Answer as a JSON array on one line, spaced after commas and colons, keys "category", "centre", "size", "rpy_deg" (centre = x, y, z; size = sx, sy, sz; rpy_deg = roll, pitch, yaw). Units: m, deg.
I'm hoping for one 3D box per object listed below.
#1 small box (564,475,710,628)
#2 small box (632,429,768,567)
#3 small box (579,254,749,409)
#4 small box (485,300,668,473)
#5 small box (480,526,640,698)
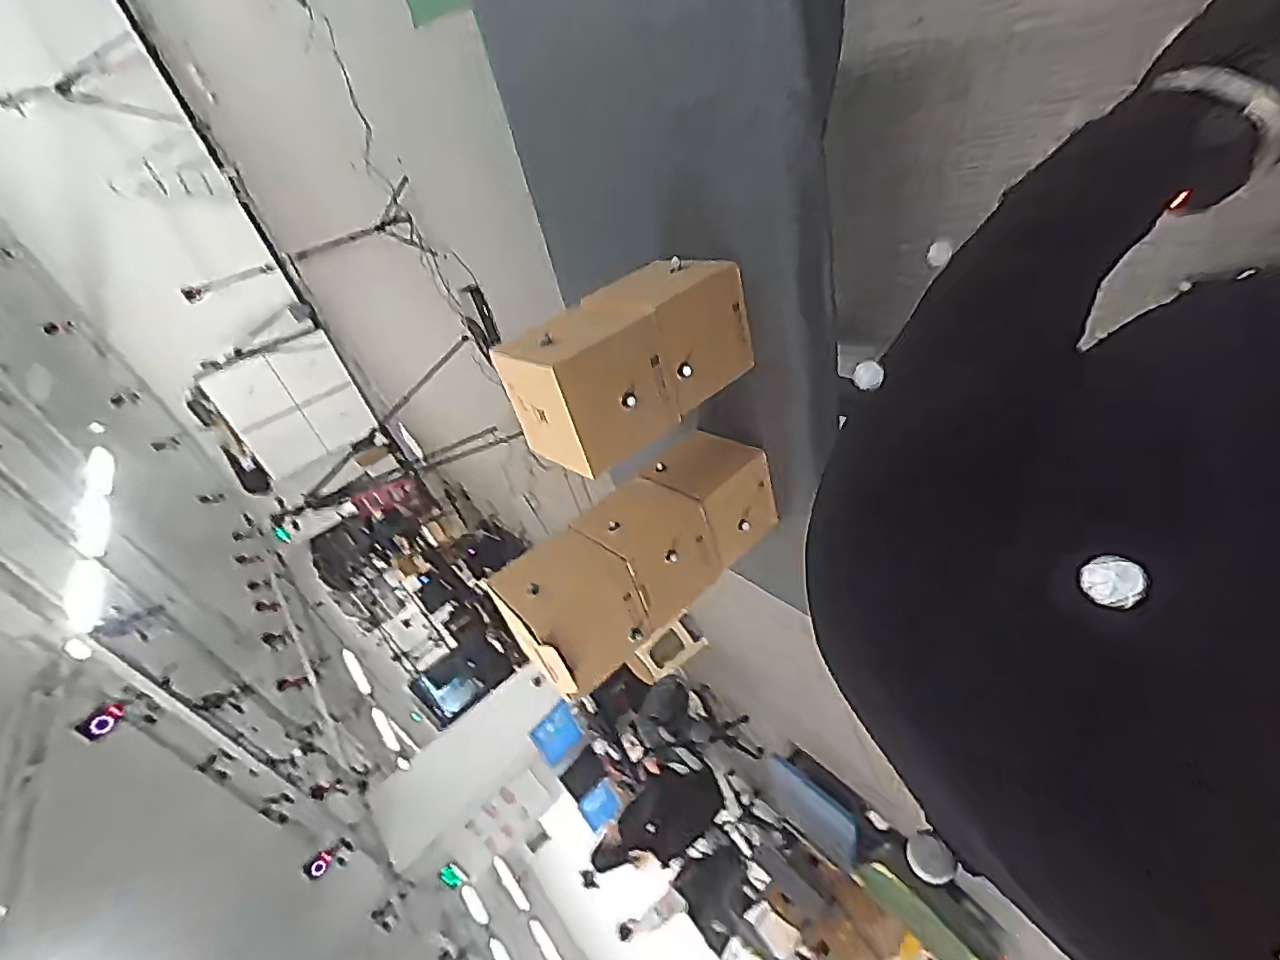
[{"category": "small box", "centre": [0.004, 0.112, 0.932], "size": [0.179, 0.176, 0.168], "rpy_deg": [24, 140, 48]}, {"category": "small box", "centre": [0.120, 0.024, 1.003], "size": [0.179, 0.176, 0.168], "rpy_deg": [24, 141, 47]}, {"category": "small box", "centre": [0.040, -0.233, 0.823], "size": [0.179, 0.176, 0.168], "rpy_deg": [26, 142, 46]}, {"category": "small box", "centre": [-0.078, -0.140, 0.754], "size": [0.179, 0.176, 0.168], "rpy_deg": [25, 141, 45]}, {"category": "small box", "centre": [-0.118, 0.197, 0.862], "size": [0.179, 0.176, 0.168], "rpy_deg": [22, 139, 49]}]
